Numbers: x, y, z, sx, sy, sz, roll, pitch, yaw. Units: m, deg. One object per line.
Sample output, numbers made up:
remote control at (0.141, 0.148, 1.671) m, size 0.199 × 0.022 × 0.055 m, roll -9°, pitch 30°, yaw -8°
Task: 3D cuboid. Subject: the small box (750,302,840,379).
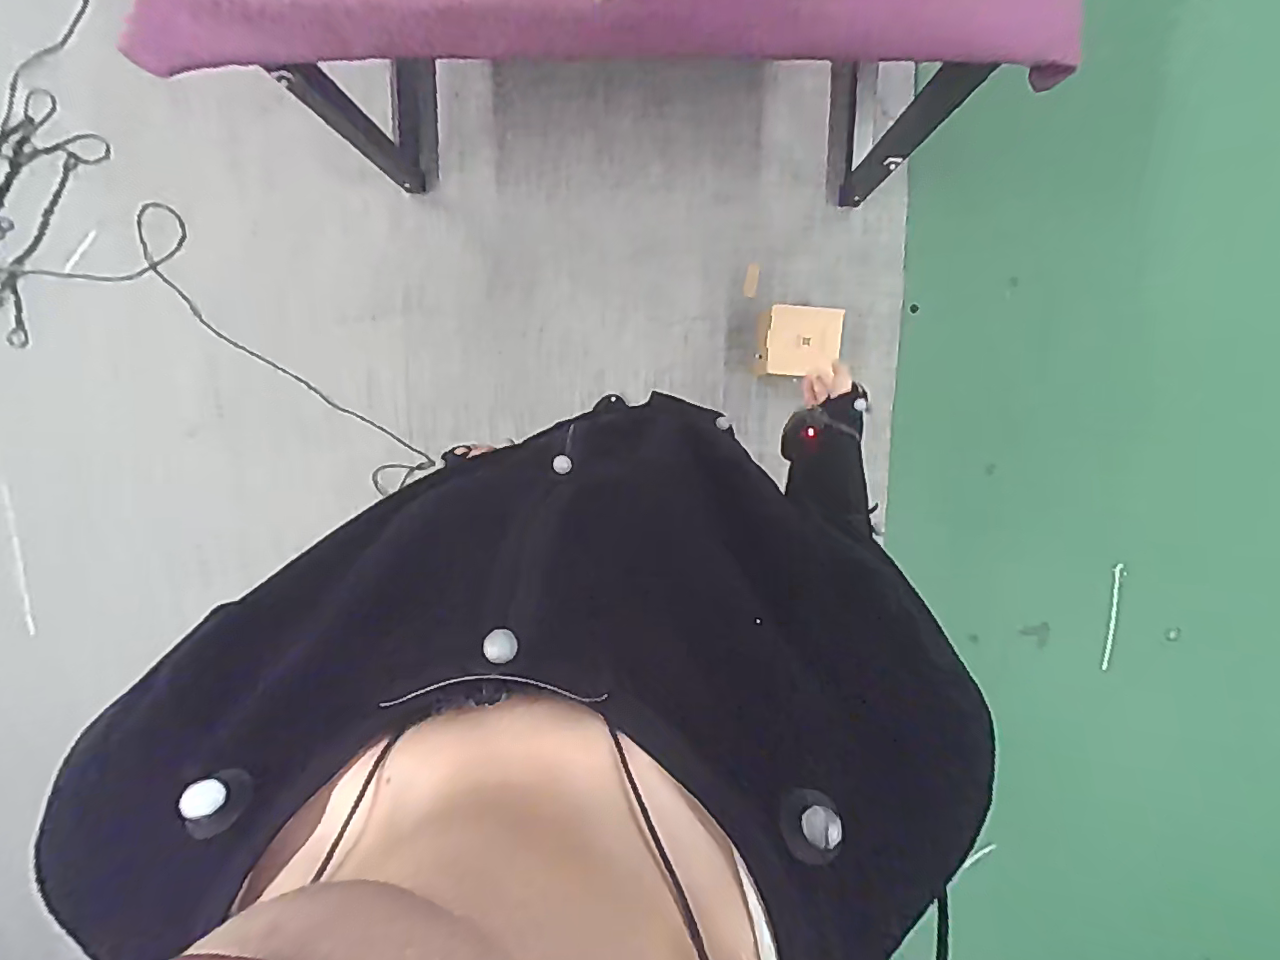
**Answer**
small box at (0.386, -0.350, 1.378) m, size 0.179 × 0.176 × 0.168 m, roll 4°, pitch 98°, yaw 0°
